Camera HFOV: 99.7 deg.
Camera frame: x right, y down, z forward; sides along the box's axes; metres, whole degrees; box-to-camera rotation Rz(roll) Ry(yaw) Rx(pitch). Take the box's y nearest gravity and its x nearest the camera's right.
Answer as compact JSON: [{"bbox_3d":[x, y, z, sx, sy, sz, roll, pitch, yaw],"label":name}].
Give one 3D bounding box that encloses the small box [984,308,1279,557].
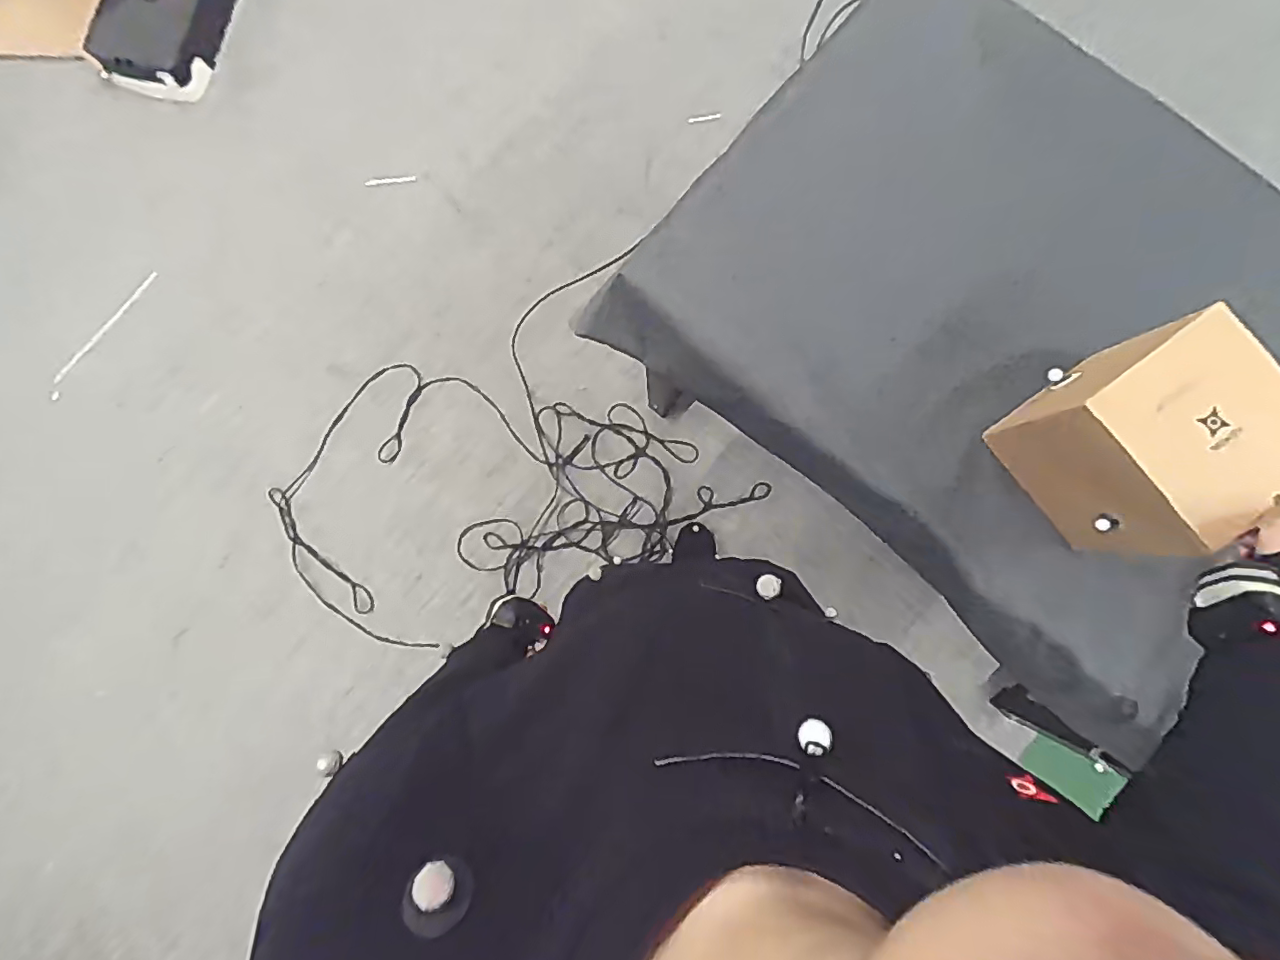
[{"bbox_3d":[0.522,-0.038,0.570,0.168,0.176,0.179,-35,83,-2],"label":"small box"}]
